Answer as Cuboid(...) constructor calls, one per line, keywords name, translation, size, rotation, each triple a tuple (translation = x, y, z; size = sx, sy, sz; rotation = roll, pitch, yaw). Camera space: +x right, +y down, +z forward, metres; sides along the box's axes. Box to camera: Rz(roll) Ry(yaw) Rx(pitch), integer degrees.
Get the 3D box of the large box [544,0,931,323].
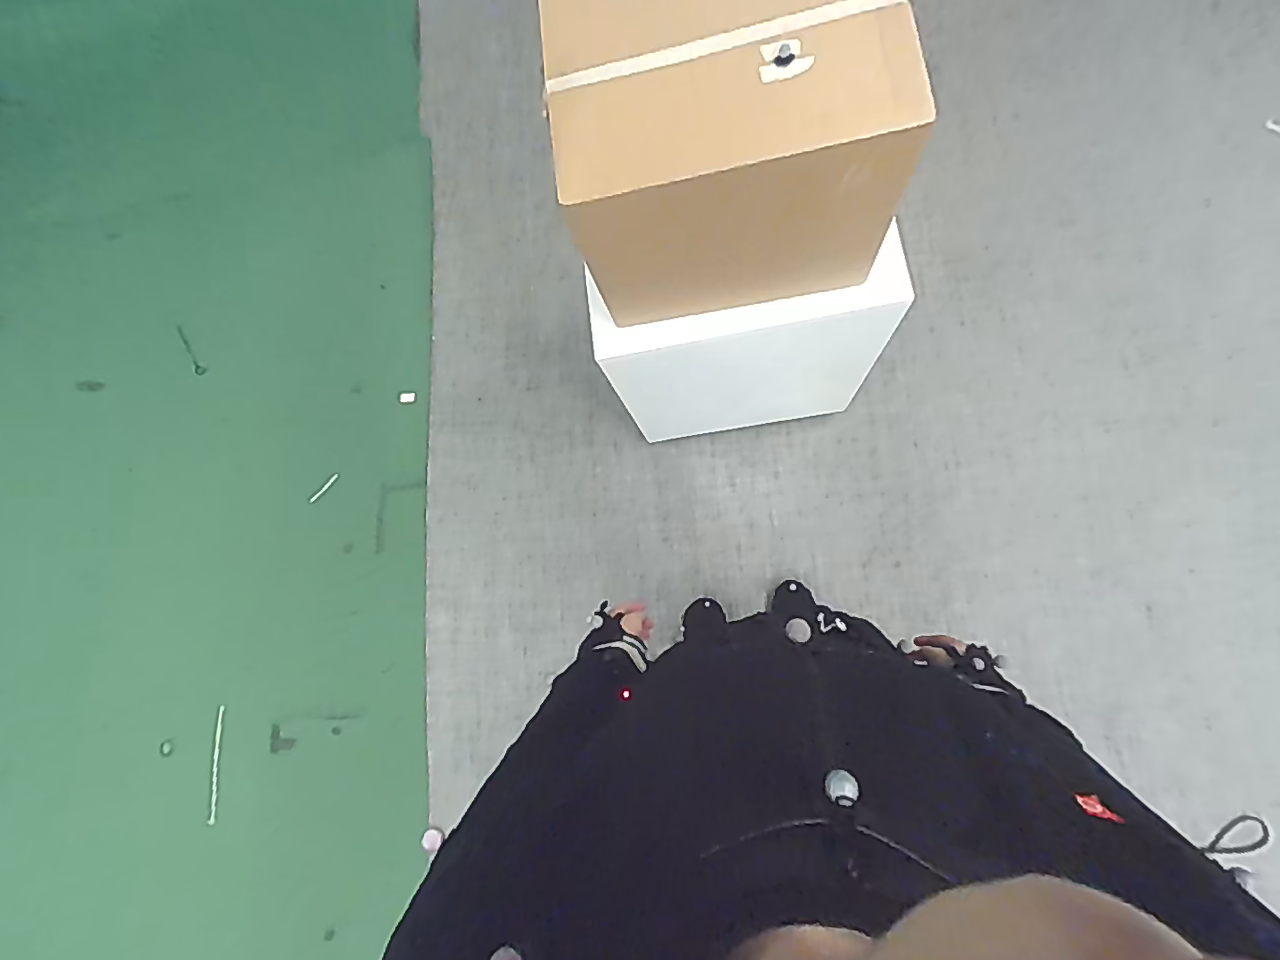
Cuboid(name="large box", translation=(0.113, -0.461, 0.760), size=(0.408, 0.320, 0.320), rotation=(-8, 79, 7))
